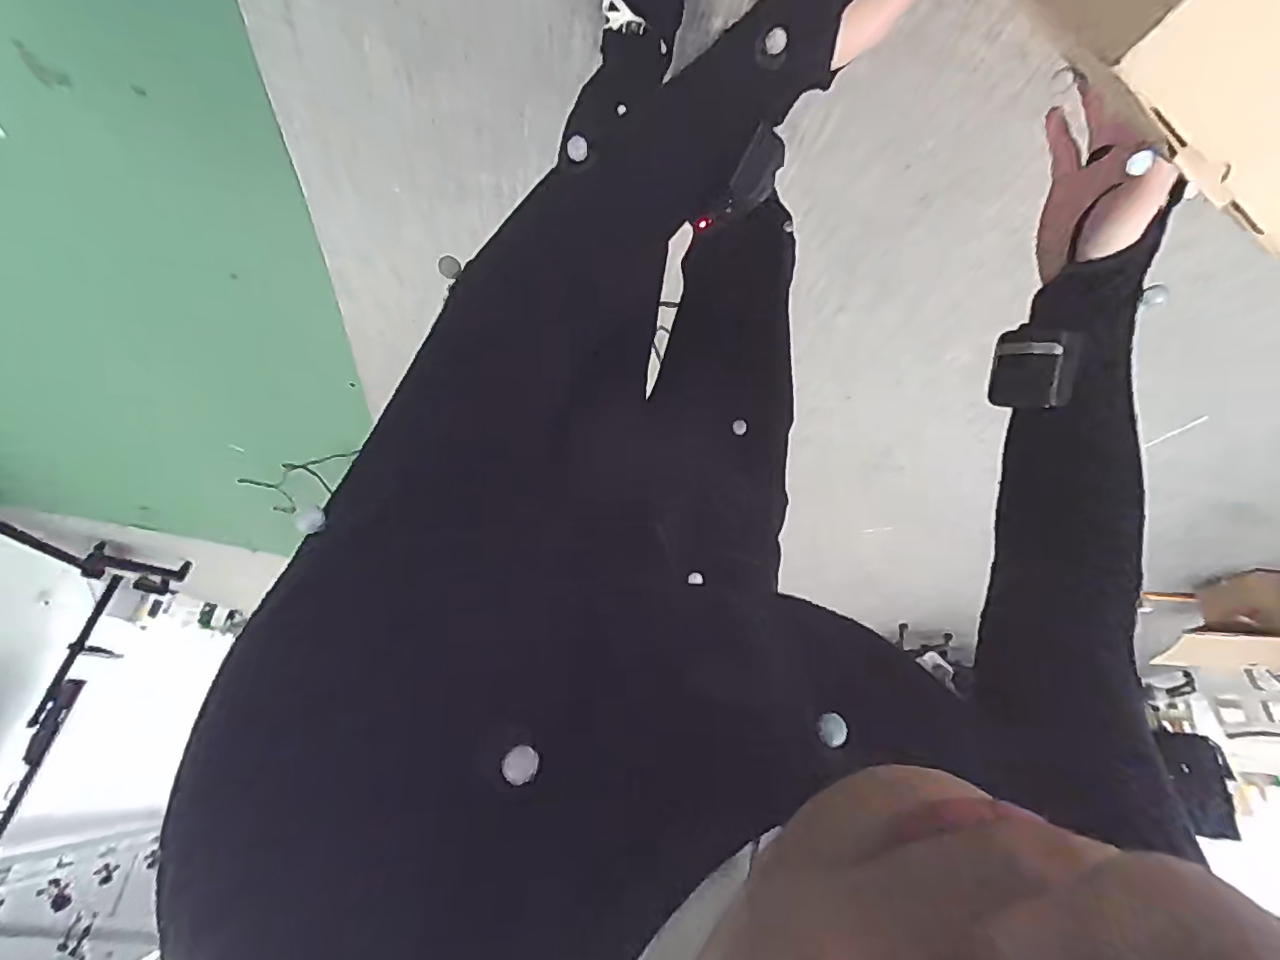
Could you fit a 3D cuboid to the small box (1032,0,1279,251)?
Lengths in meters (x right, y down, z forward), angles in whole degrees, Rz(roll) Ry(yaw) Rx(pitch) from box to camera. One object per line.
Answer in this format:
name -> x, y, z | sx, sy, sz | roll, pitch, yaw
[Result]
small box -> 0.293, -0.245, 0.222 | 0.168, 0.176, 0.179 | 21, 143, -23
